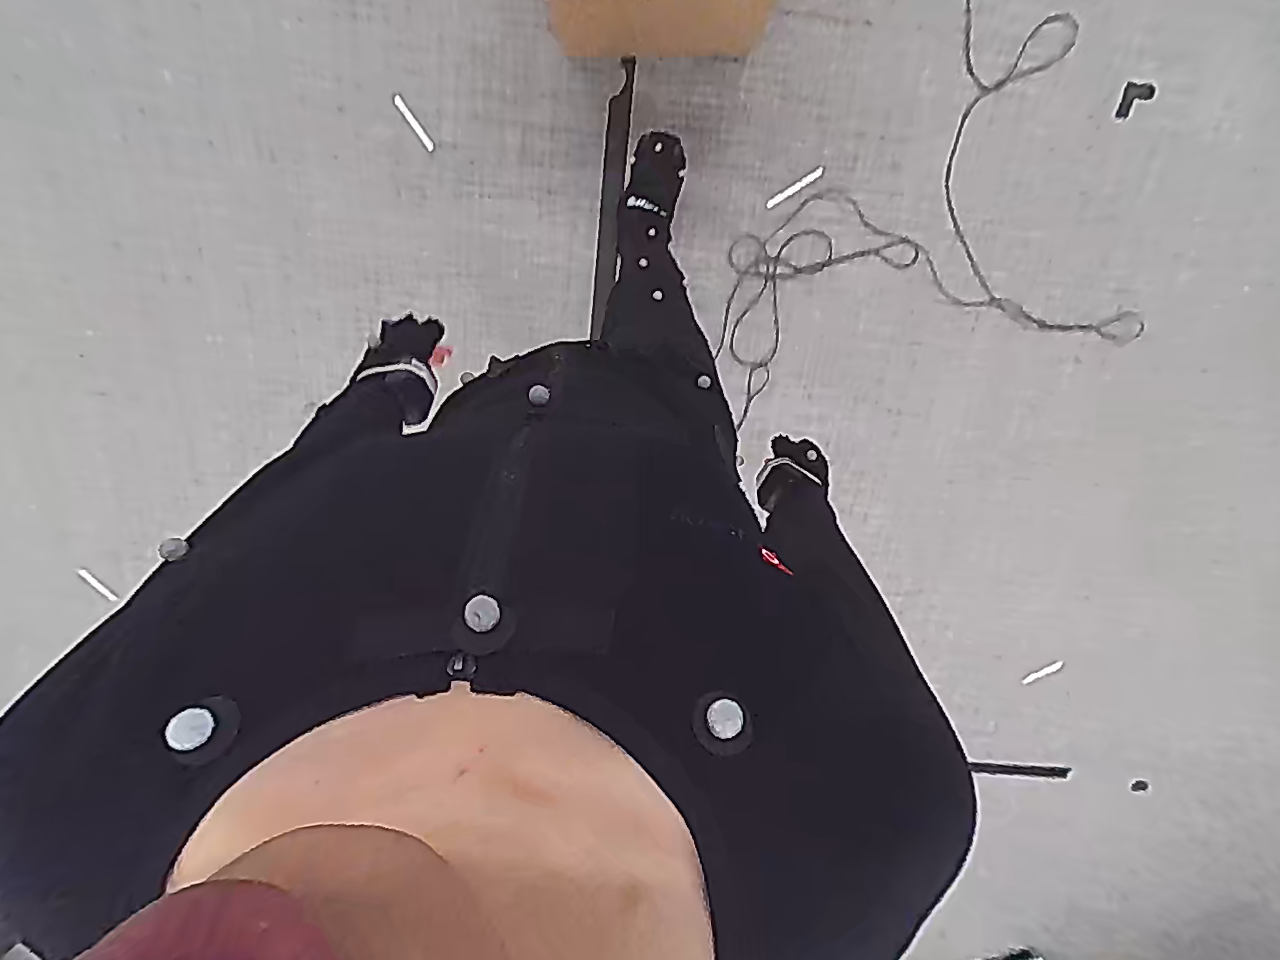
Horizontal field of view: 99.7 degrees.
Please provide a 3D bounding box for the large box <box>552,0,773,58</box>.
[{"bbox_3d":[0.034,-1.004,0.965,0.408,0.320,0.320,-3,110,-1],"label":"large box"}]
